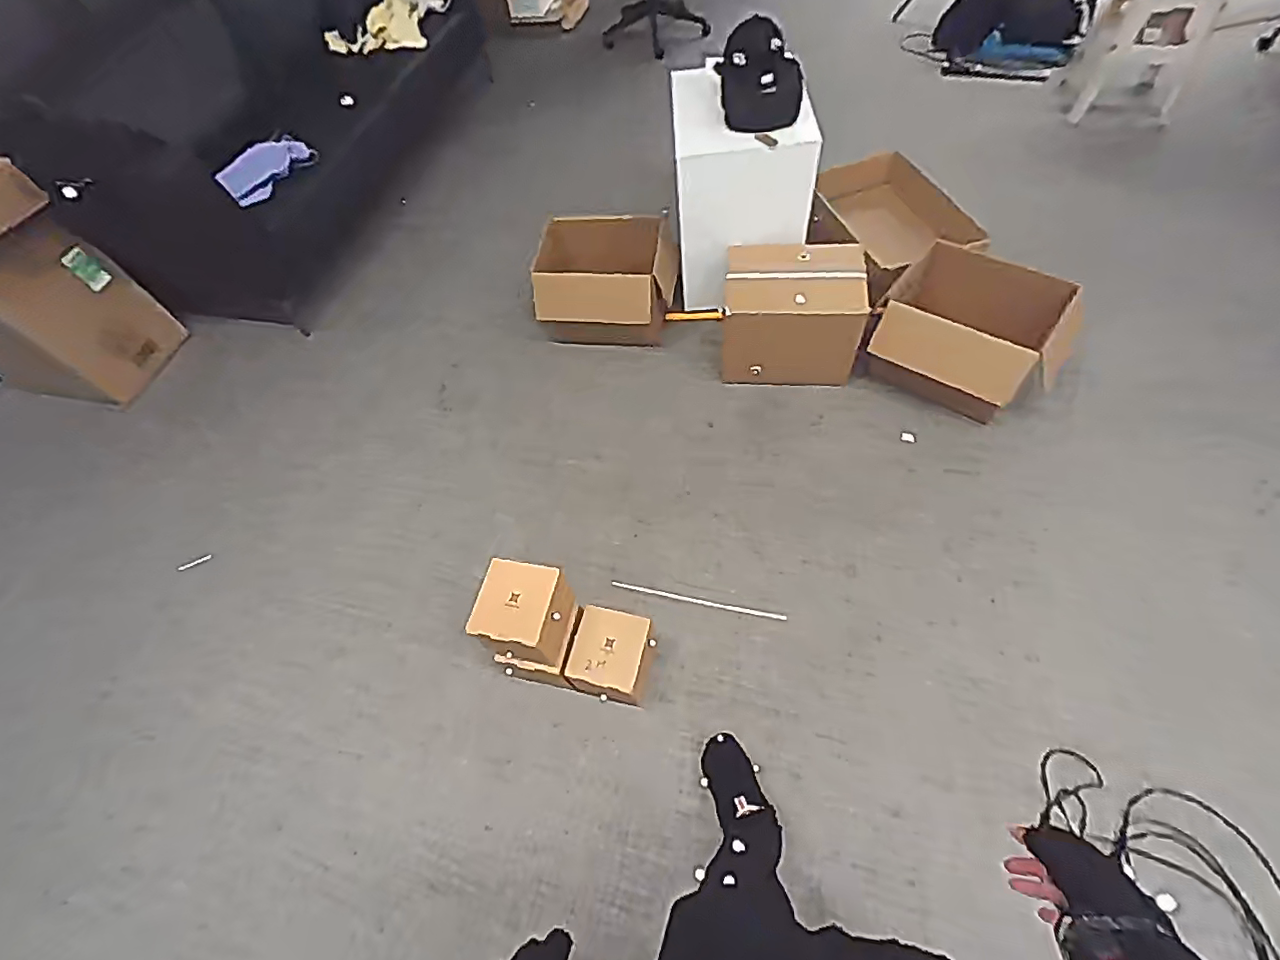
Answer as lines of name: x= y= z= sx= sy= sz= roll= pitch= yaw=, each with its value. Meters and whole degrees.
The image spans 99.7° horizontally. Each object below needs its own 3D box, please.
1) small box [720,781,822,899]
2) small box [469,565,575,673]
small box: x=0.262 y=0.735 z=1.119 sx=0.168 sy=0.176 sz=0.179 roll=-5 pitch=64 yaw=1
small box: x=-0.256 y=0.318 z=1.231 sx=0.168 sy=0.176 sz=0.179 roll=8 pitch=58 yaw=12
